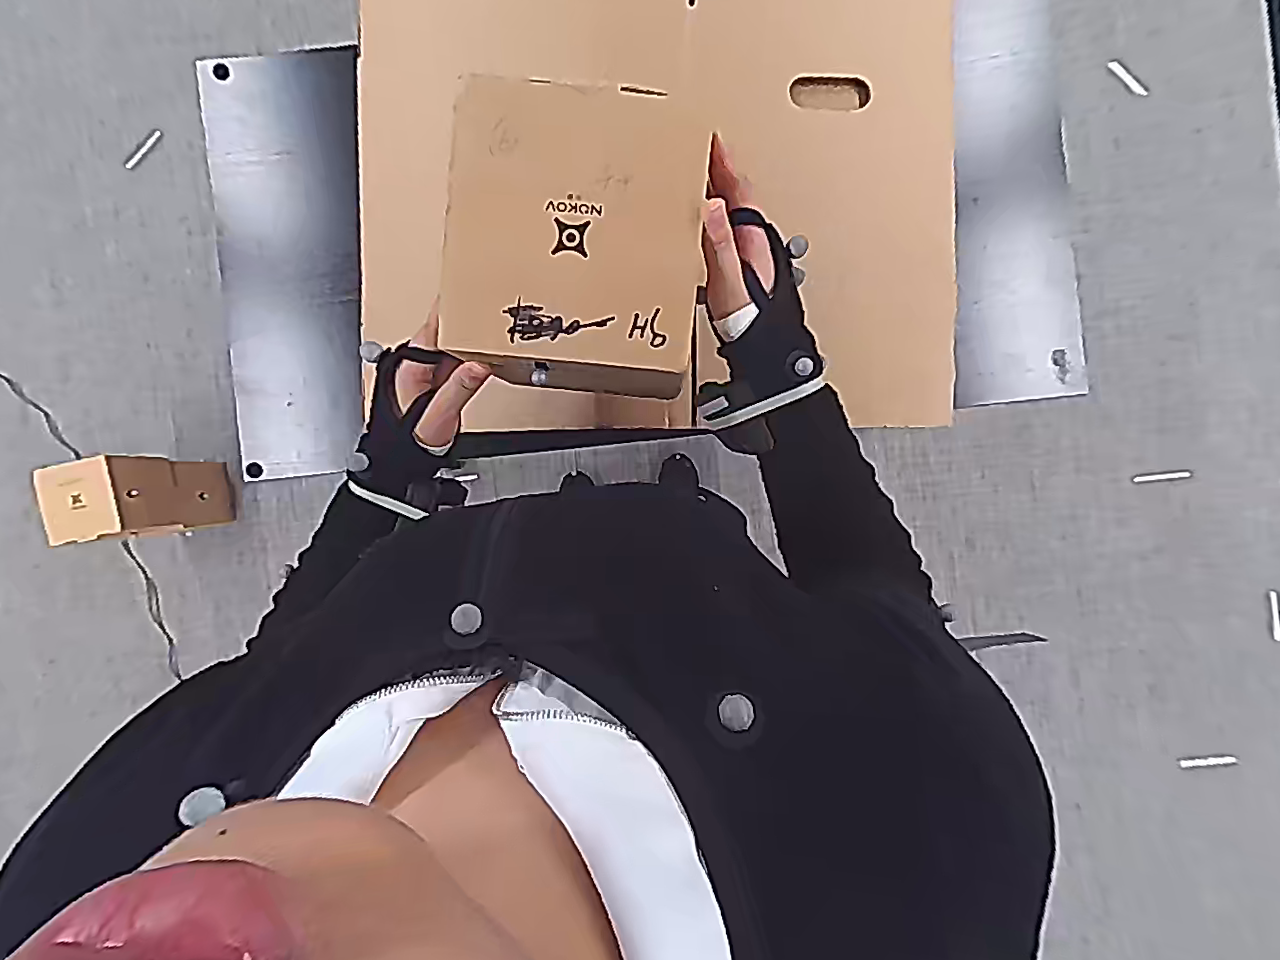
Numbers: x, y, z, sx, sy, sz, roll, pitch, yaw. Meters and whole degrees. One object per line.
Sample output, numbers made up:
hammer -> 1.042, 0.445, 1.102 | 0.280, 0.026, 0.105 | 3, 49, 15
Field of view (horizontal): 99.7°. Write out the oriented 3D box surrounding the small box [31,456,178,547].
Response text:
small box -> -1.237, 0.046, 1.265 | 0.168, 0.176, 0.179 | -13, 89, 0

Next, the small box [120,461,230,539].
small box -> -1.233, 0.050, 1.427 | 0.168, 0.176, 0.179 | -10, 91, 1

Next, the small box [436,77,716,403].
small box -> -0.039, -0.164, 0.424 | 0.168, 0.176, 0.179 | 6, 92, 2
